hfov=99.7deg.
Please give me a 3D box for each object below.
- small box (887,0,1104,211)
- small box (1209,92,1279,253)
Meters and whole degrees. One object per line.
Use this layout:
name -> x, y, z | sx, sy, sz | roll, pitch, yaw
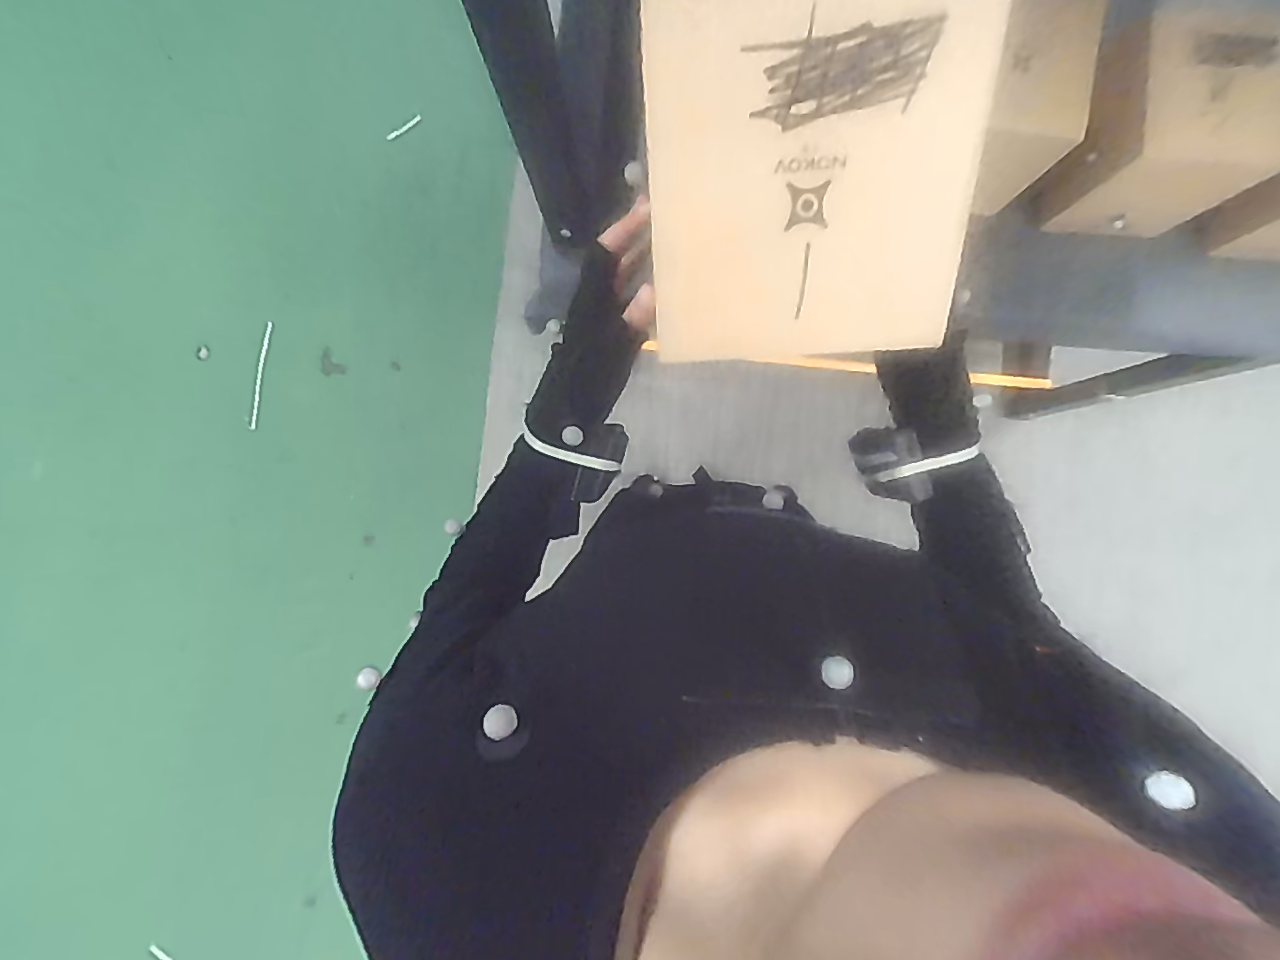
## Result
small box -> 0.442, -0.481, 0.702 | 0.168, 0.176, 0.179 | 10, 87, 2
small box -> 0.883, -0.403, 0.683 | 0.168, 0.176, 0.179 | 4, 87, 1
